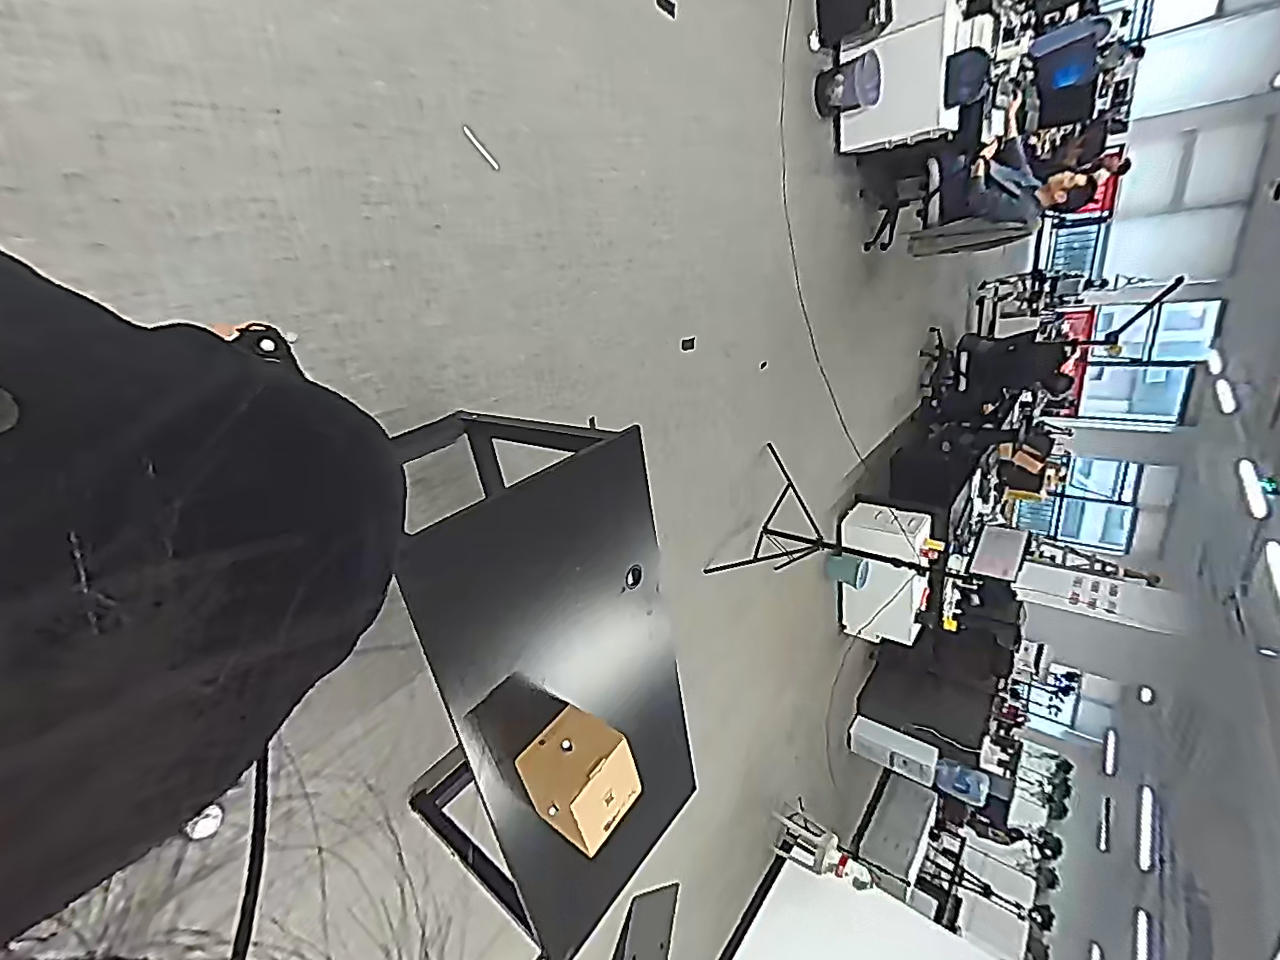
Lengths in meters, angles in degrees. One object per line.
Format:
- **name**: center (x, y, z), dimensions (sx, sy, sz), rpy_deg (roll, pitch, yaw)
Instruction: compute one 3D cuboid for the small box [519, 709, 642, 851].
- **small box**: center (-0.125, 0.610, 1.128), dimensions (0.168, 0.176, 0.179), rpy_deg (-37, 124, -40)
